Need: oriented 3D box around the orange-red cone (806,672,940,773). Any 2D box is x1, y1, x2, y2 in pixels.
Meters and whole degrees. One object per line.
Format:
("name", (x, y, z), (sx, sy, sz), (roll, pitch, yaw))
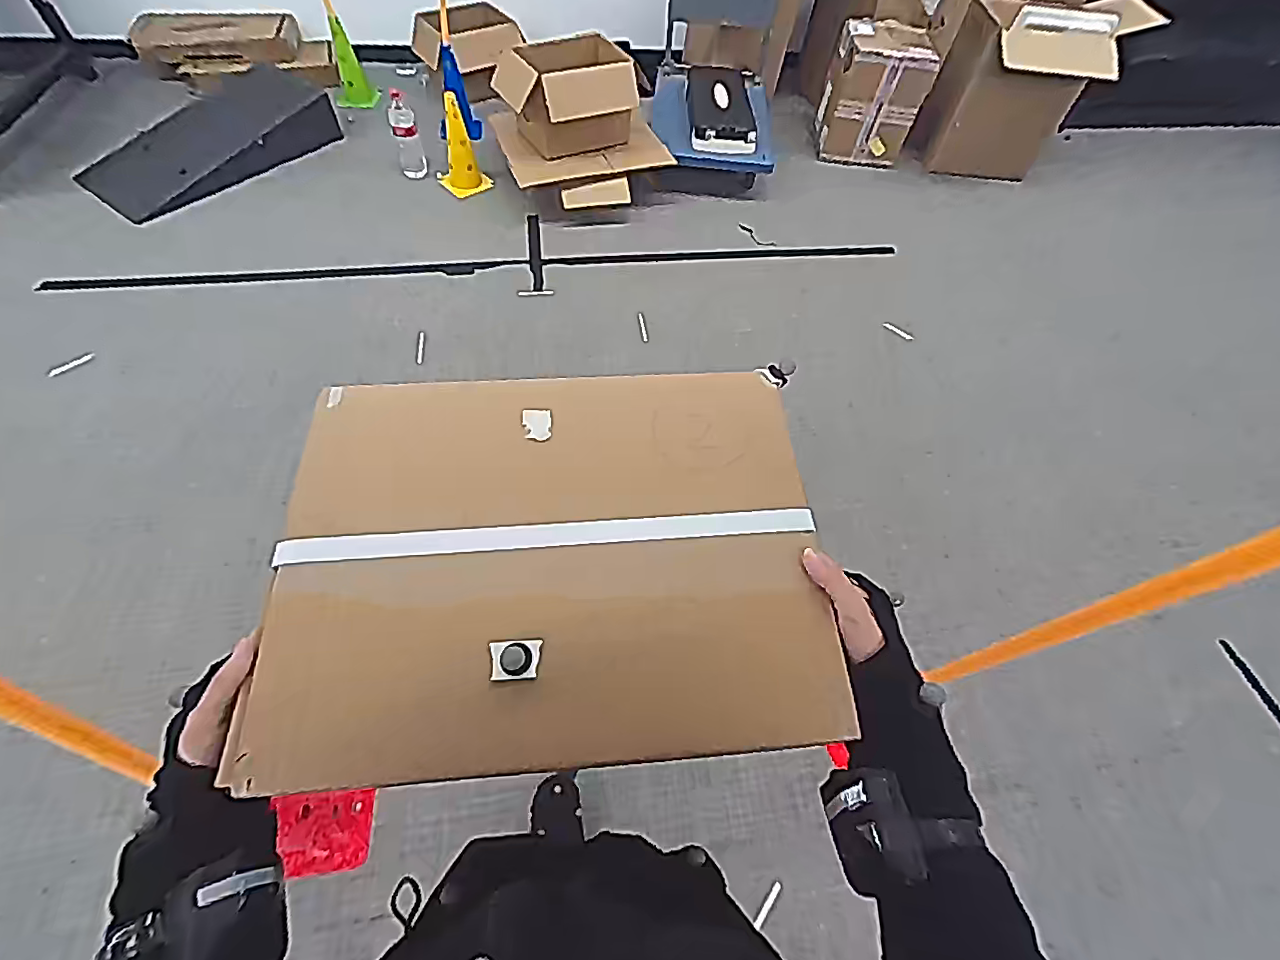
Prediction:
("orange-red cone", (0.536, 0.489, 1.169), (0.199, 0.360, 0.198), (-12, 59, -14))
